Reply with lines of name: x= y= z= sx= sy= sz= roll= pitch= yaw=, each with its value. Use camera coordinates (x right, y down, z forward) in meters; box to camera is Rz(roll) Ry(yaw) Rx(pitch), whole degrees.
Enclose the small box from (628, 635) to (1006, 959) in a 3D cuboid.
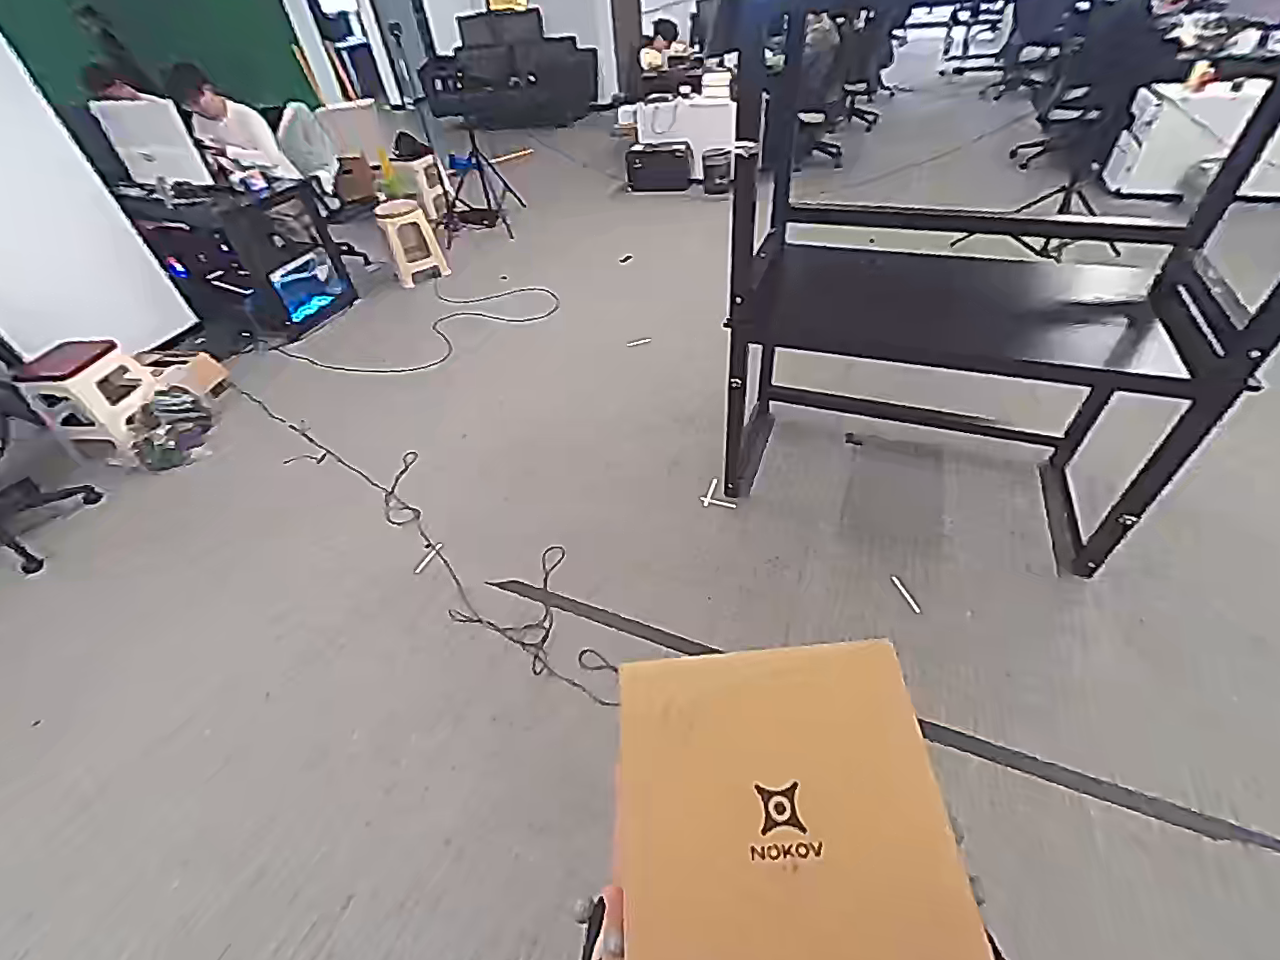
small box: x=0.084 y=0.215 z=0.337 sx=0.168 sy=0.176 sz=0.179 roll=-6 pitch=54 yaw=5
